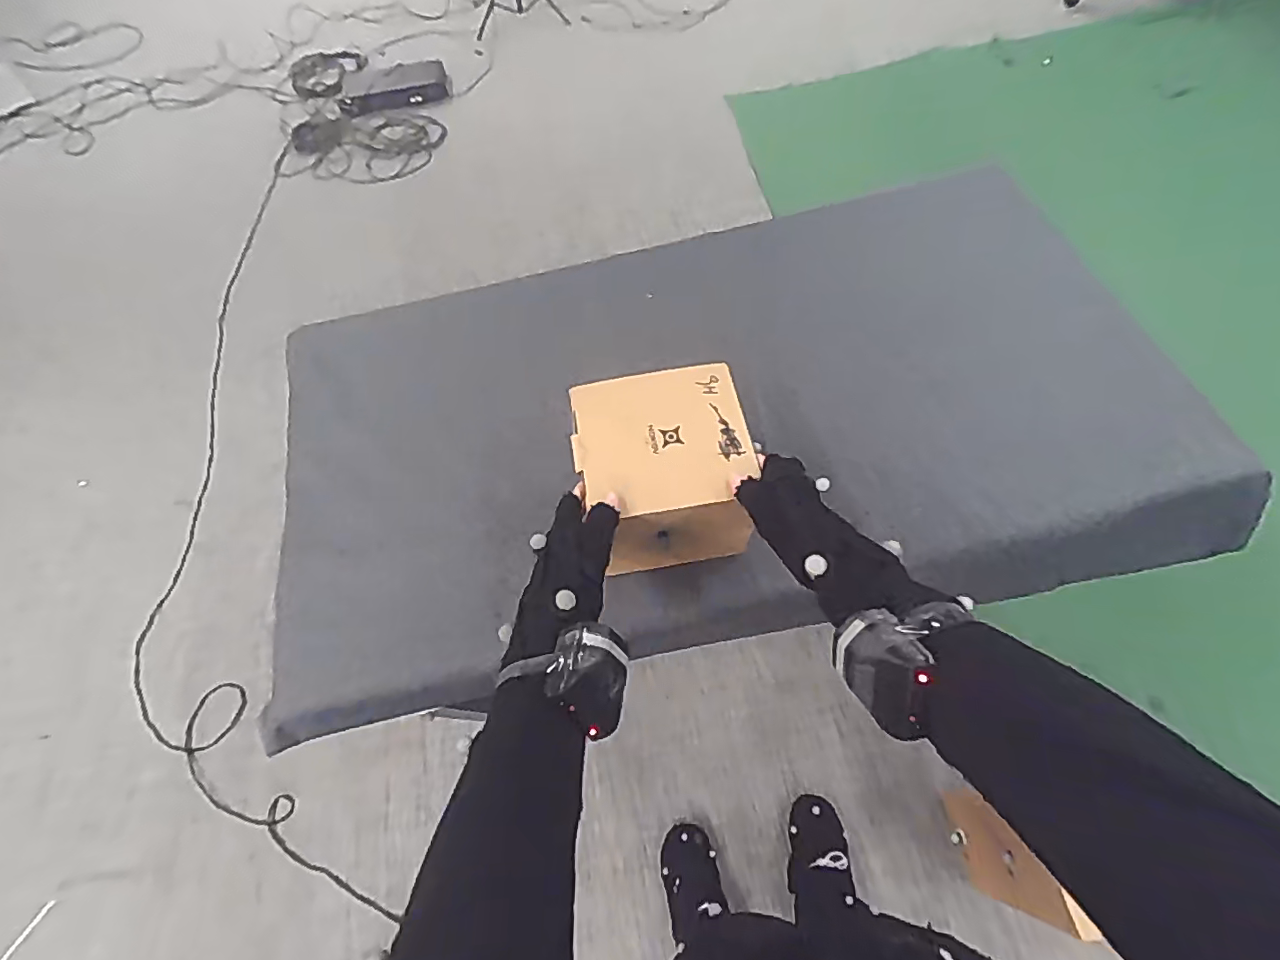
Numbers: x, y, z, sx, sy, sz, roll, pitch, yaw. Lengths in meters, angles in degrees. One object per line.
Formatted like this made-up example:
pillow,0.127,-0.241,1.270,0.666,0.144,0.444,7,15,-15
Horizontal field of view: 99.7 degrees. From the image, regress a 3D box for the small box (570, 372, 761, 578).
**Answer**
small box,0.025,0.002,0.621,0.179,0.176,0.168,-8,62,-2
